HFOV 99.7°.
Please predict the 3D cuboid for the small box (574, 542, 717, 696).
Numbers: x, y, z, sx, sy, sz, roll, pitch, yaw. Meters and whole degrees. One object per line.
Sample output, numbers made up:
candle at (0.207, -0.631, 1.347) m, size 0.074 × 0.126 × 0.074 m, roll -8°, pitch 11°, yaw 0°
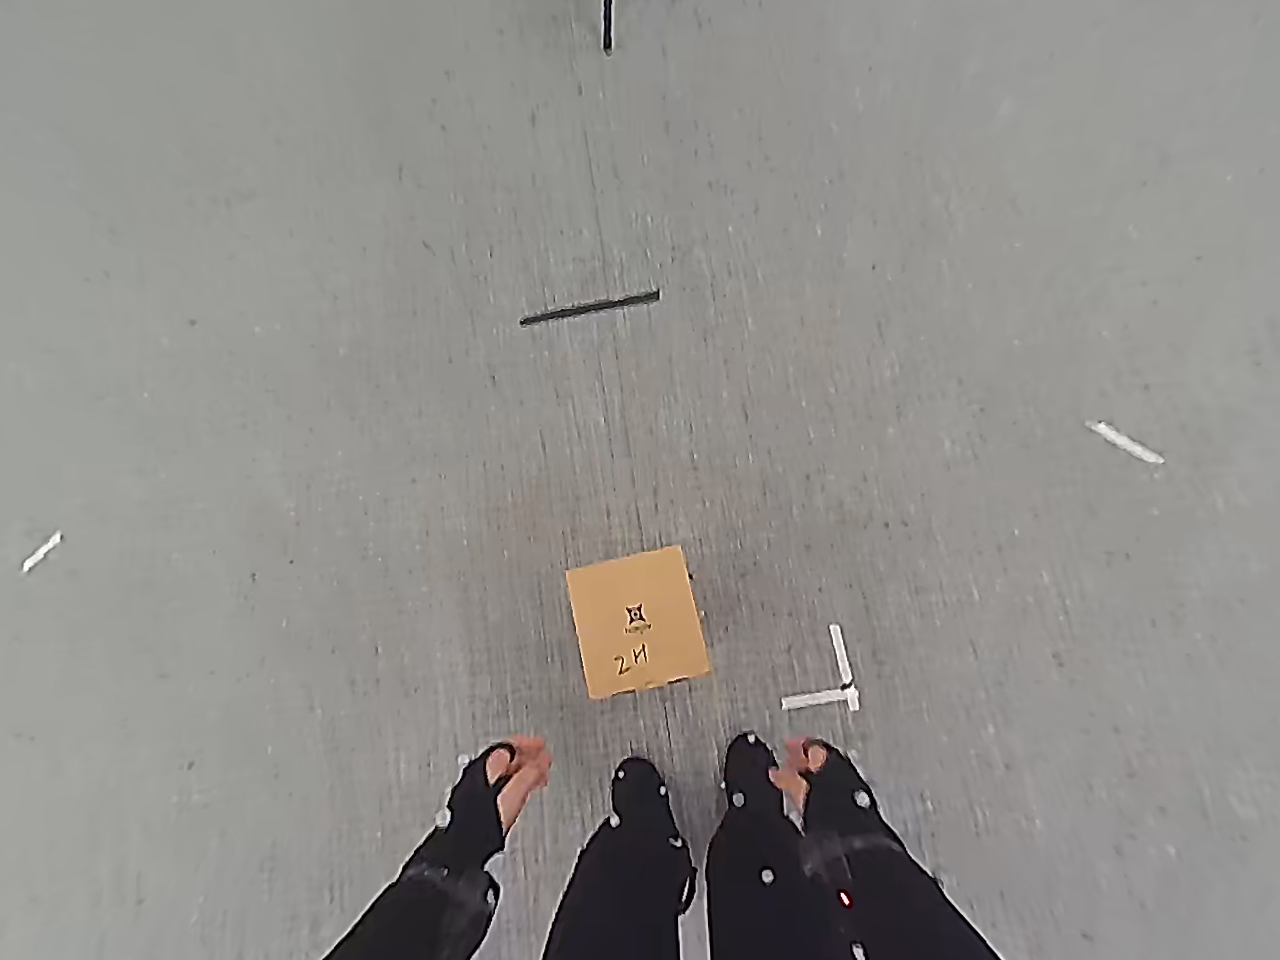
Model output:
small box at (0.010, 0.202, 0.803) m, size 0.168 × 0.176 × 0.179 m, roll -14°, pitch 77°, yaw 3°
